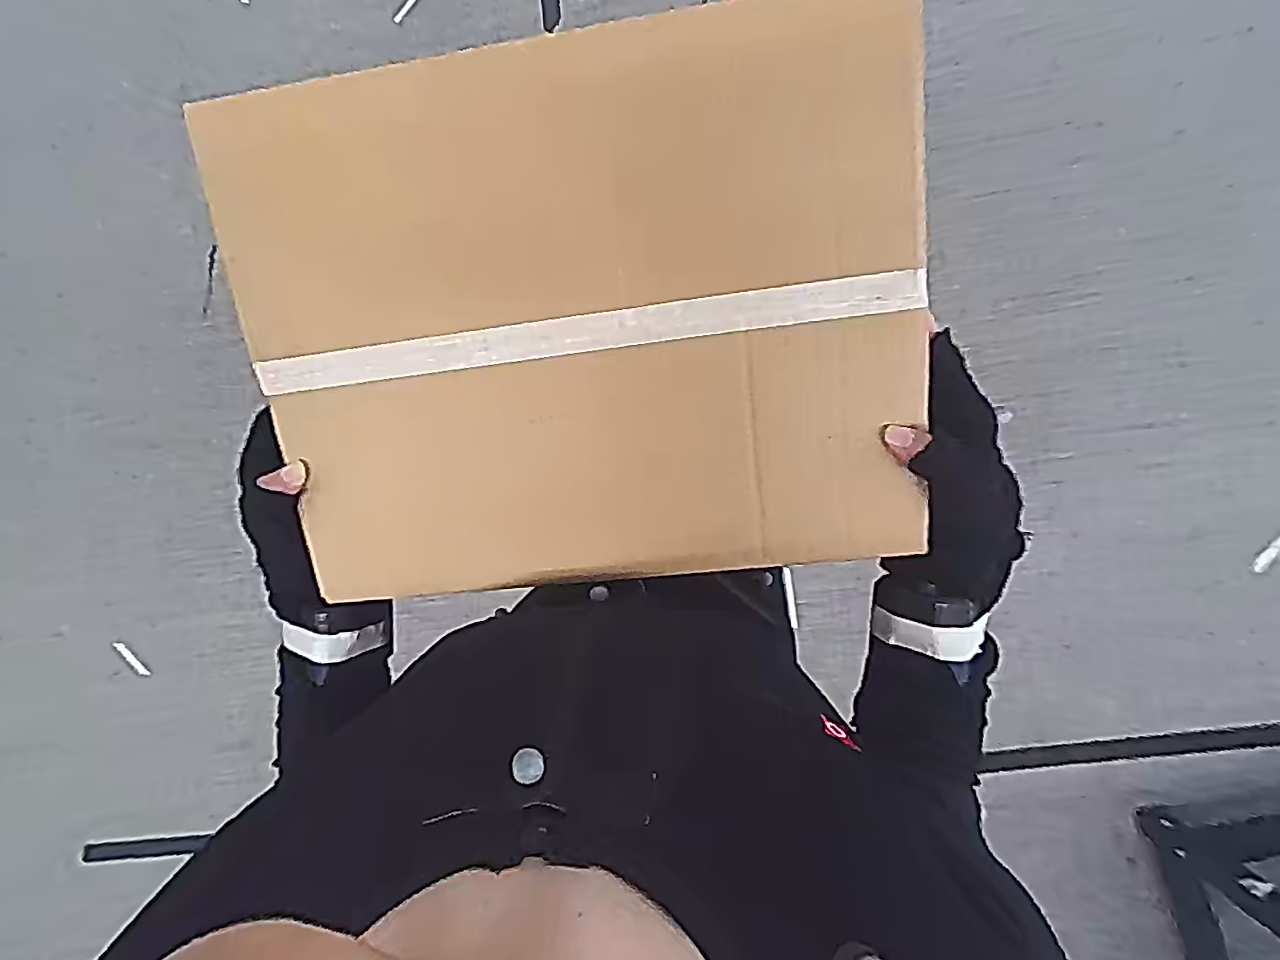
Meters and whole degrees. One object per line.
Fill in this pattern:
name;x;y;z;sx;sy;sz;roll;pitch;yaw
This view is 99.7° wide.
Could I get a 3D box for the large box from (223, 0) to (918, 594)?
large box;-0.028;-0.120;0.478;0.408;0.320;0.320;-6;103;6
